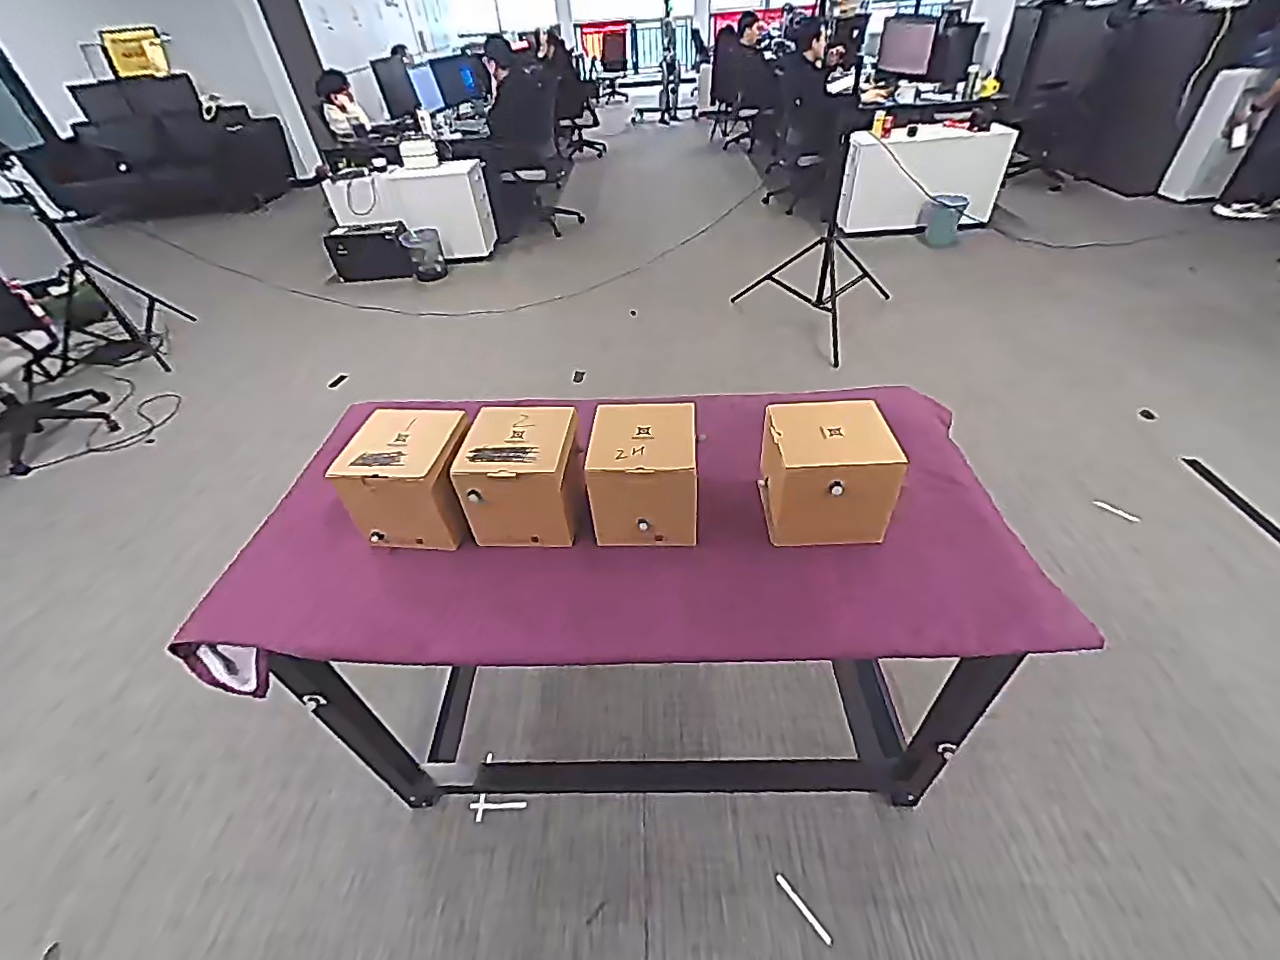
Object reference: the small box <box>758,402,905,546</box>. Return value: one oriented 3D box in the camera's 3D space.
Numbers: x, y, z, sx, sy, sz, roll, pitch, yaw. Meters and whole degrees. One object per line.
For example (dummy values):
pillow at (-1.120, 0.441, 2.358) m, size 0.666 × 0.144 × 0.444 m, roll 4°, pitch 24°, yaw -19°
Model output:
small box at (0.296, -0.008, 0.878) m, size 0.179 × 0.176 × 0.168 m, roll -3°, pitch 40°, yaw 3°
